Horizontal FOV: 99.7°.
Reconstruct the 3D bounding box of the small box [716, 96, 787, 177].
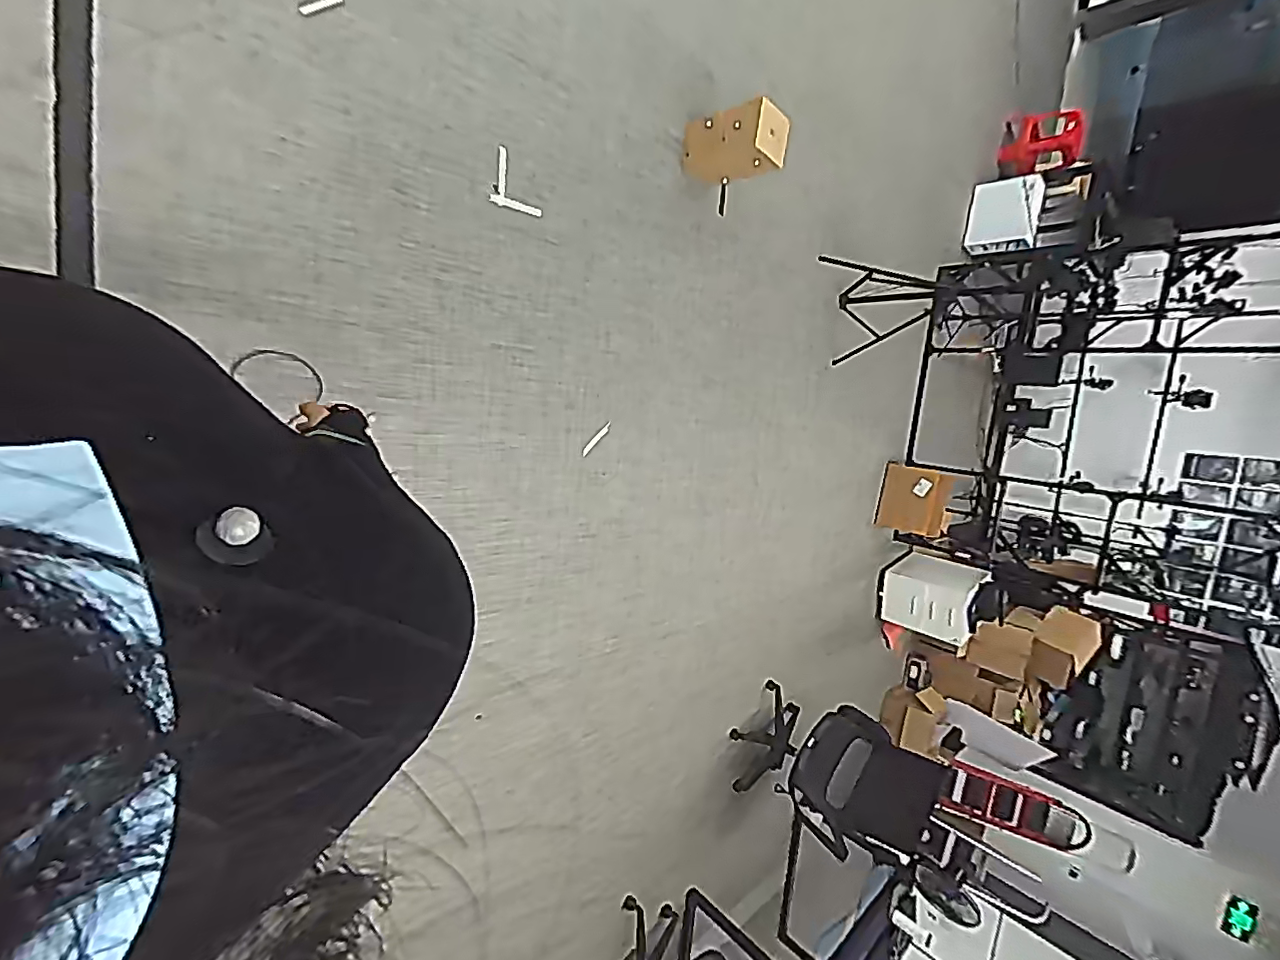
[{"bbox_3d":[0.392,-1.203,1.912,0.179,0.176,0.168,5,97,-46],"label":"small box"}]
